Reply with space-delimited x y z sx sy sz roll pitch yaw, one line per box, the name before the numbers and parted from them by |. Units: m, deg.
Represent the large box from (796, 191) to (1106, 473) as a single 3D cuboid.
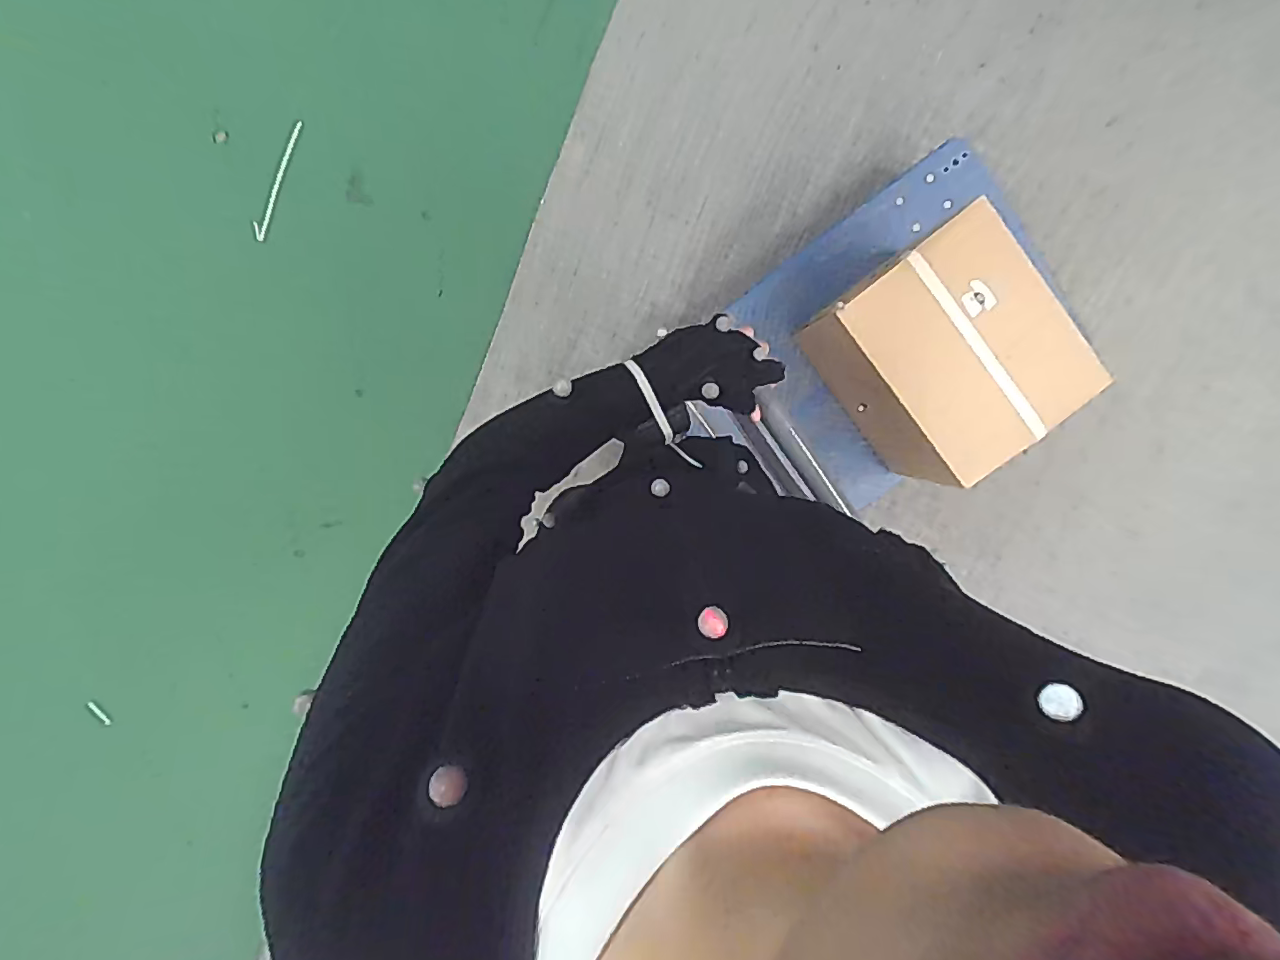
large box | 0.590 -0.272 1.104 0.320 0.320 0.408 -39 93 6
